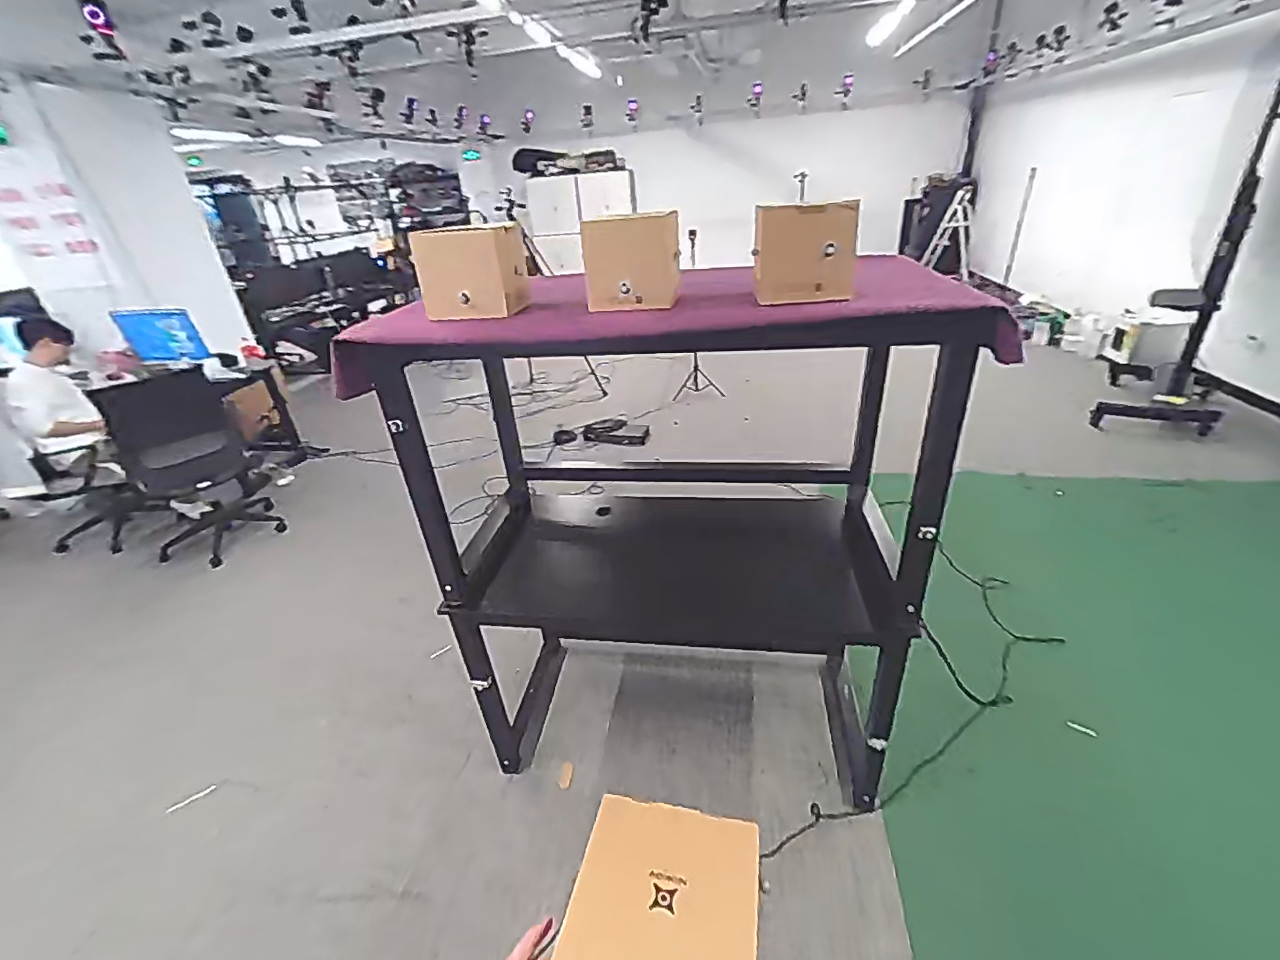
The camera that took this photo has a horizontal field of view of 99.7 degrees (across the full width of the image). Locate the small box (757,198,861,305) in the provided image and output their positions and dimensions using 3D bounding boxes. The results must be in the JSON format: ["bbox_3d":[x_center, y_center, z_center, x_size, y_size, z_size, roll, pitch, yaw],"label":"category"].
[{"bbox_3d":[0.313,-0.432,1.030,0.168,0.176,0.179,-1,27,8],"label":"small box"}]

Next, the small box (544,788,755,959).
[{"bbox_3d":[0.020,0.442,0.515,0.168,0.176,0.179,4,20,12],"label":"small box"}]

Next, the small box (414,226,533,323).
[{"bbox_3d":[-0.336,-0.431,1.133,0.179,0.176,0.168,0,27,8],"label":"small box"}]
